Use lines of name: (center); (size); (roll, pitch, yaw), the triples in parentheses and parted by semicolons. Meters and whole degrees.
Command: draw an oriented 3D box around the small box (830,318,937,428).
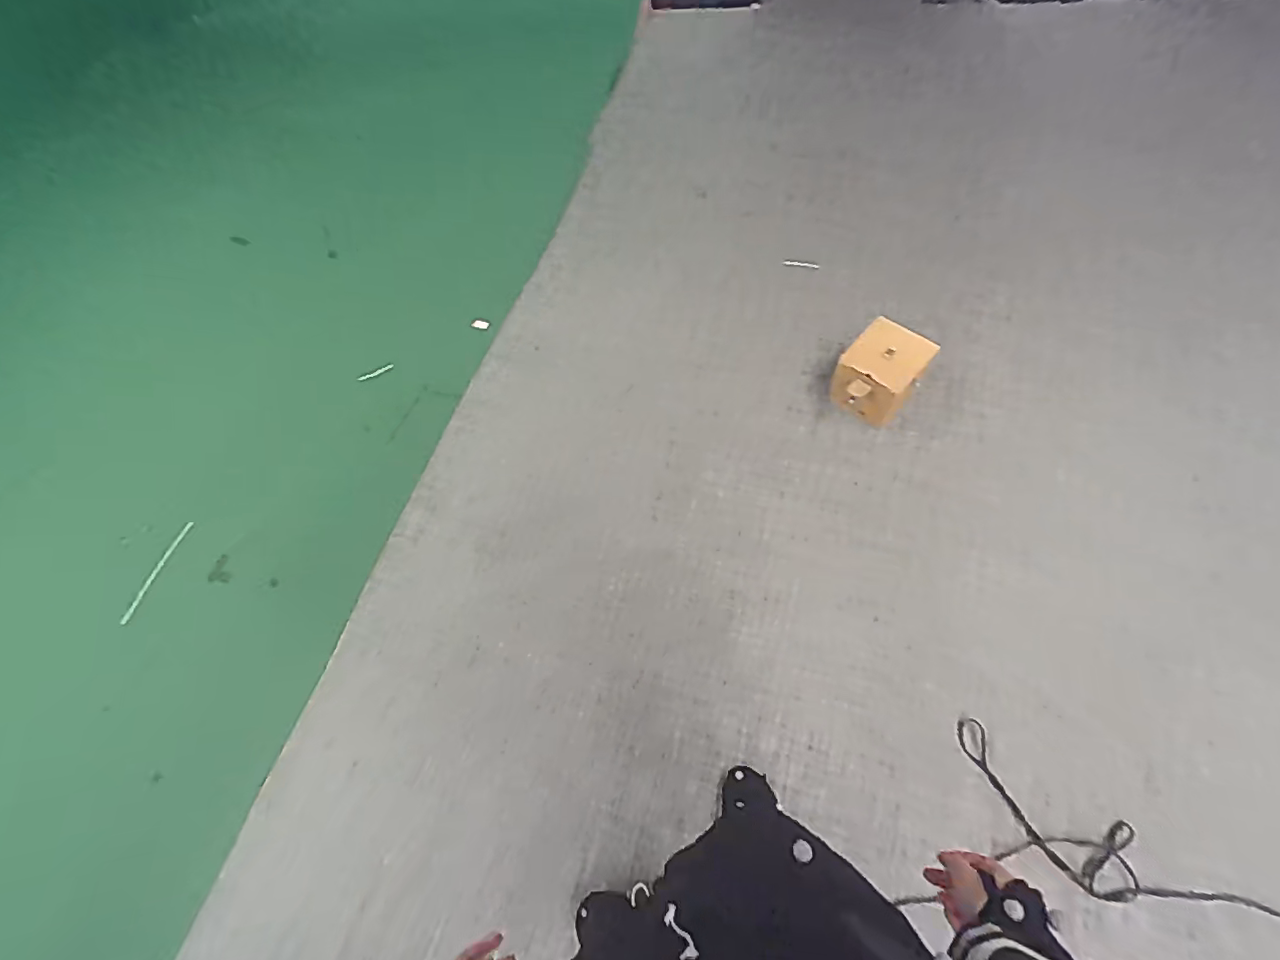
small box: (0.606, -0.267, 1.370); (0.168, 0.176, 0.179); (39, 77, 23)
